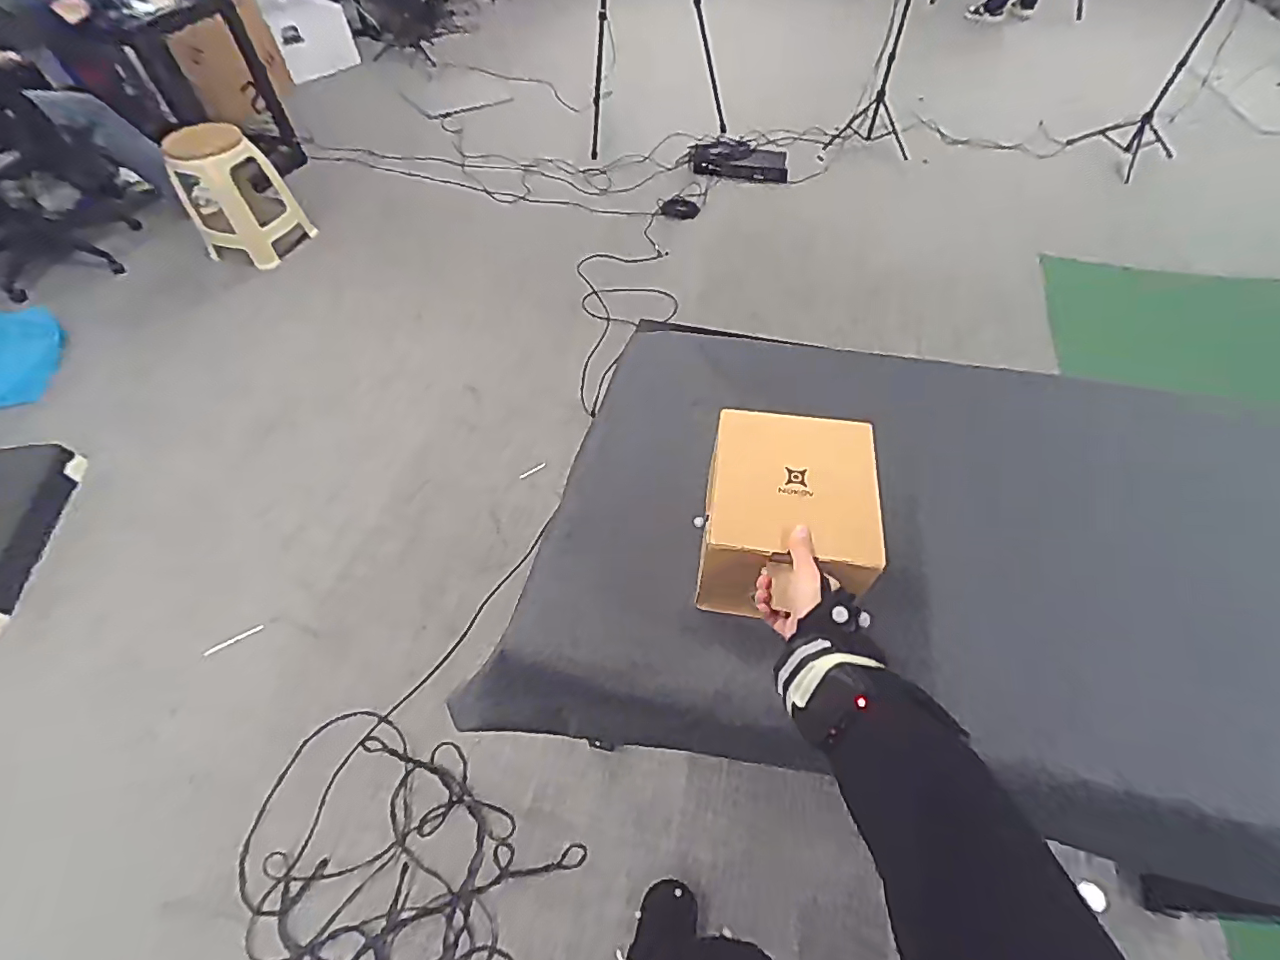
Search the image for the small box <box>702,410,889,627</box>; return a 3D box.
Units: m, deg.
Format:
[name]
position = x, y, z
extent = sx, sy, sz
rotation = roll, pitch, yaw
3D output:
[small box]
position = 0.164, 0.047, 0.619
extent = 0.168, 0.176, 0.179
rotation = 7, 56, 6
